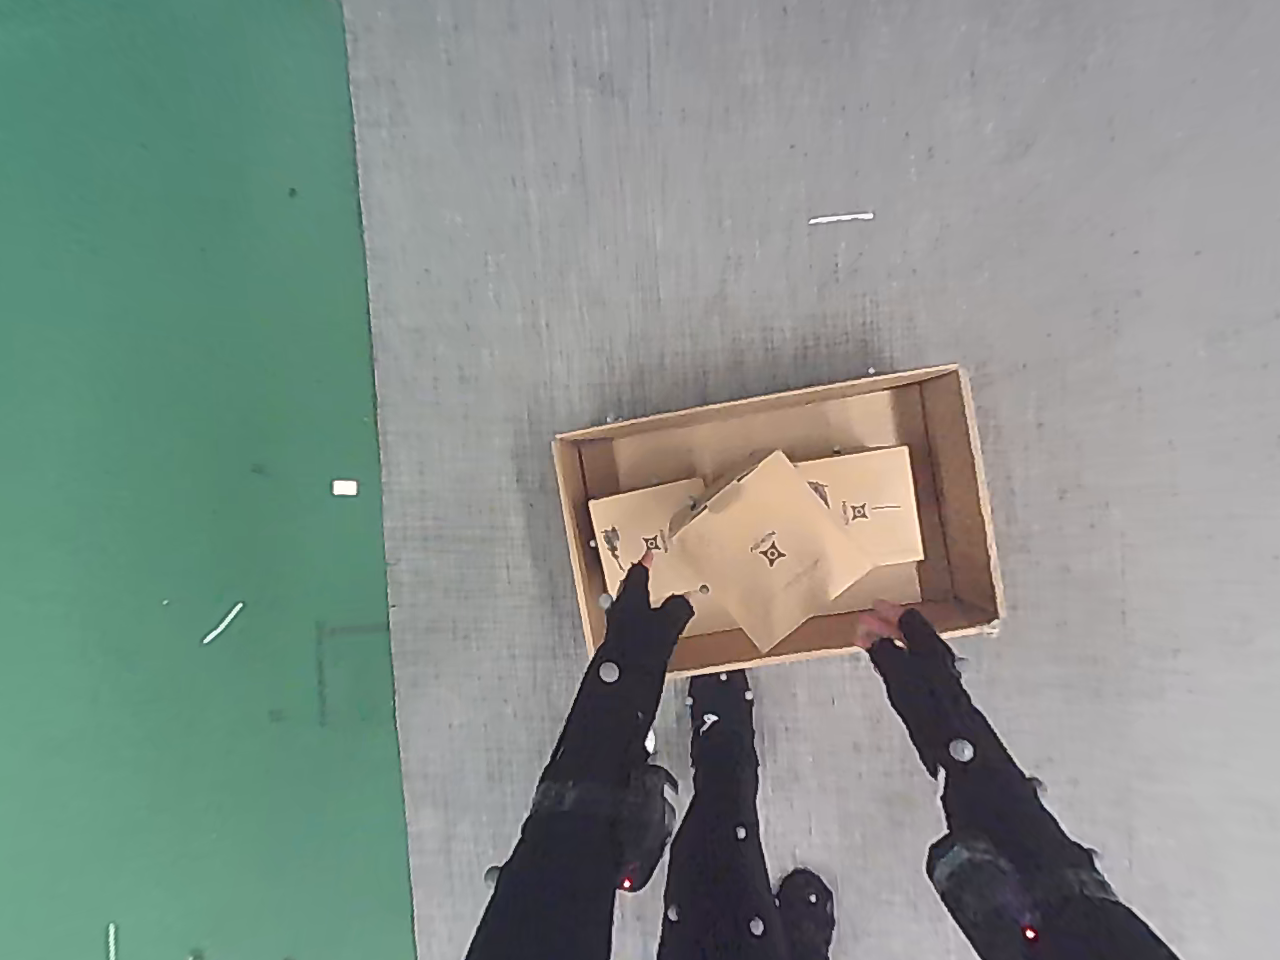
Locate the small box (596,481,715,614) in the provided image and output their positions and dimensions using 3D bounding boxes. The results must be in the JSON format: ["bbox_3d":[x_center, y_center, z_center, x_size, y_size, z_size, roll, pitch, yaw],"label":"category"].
[{"bbox_3d":[0.038,0.098,0.869,0.179,0.176,0.168,-13,90,3],"label":"small box"}]

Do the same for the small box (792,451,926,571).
[{"bbox_3d":[0.314,0.049,0.845,0.179,0.176,0.168,-9,92,5],"label":"small box"}]

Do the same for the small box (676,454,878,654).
[{"bbox_3d":[0.160,0.084,0.698,0.168,0.176,0.179,-41,90,5],"label":"small box"}]
